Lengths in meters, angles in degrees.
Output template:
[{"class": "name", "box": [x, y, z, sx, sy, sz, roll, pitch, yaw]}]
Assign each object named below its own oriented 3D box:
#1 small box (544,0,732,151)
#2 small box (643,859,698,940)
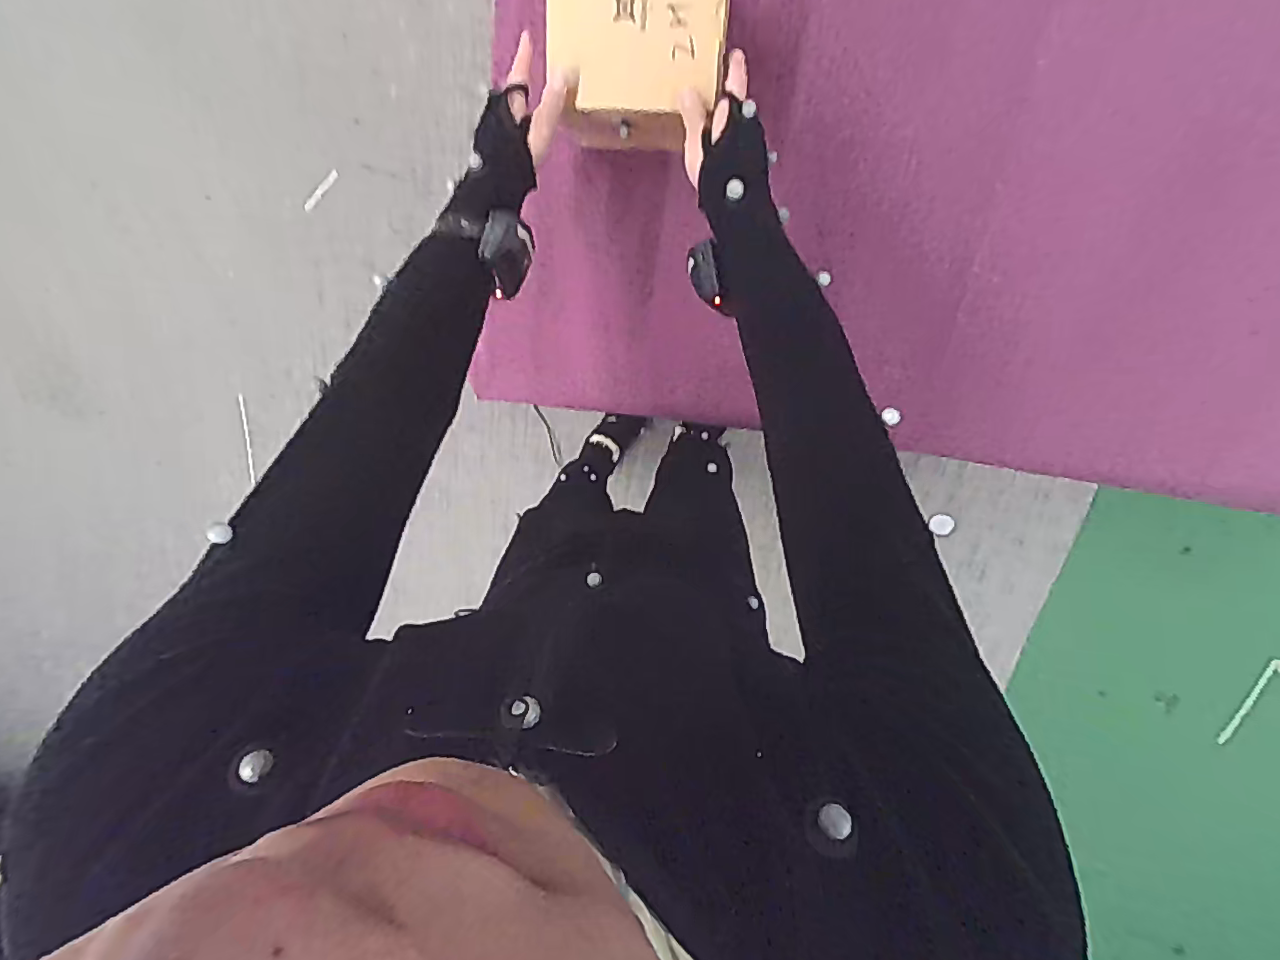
[{"class": "small box", "box": [0.004, -0.473, 0.590, 0.179, 0.176, 0.168, 6, 110, 6]}, {"class": "small box", "box": [0.118, 1.580, 2.047, 0.179, 0.176, 0.168, 10, 111, 4]}]
